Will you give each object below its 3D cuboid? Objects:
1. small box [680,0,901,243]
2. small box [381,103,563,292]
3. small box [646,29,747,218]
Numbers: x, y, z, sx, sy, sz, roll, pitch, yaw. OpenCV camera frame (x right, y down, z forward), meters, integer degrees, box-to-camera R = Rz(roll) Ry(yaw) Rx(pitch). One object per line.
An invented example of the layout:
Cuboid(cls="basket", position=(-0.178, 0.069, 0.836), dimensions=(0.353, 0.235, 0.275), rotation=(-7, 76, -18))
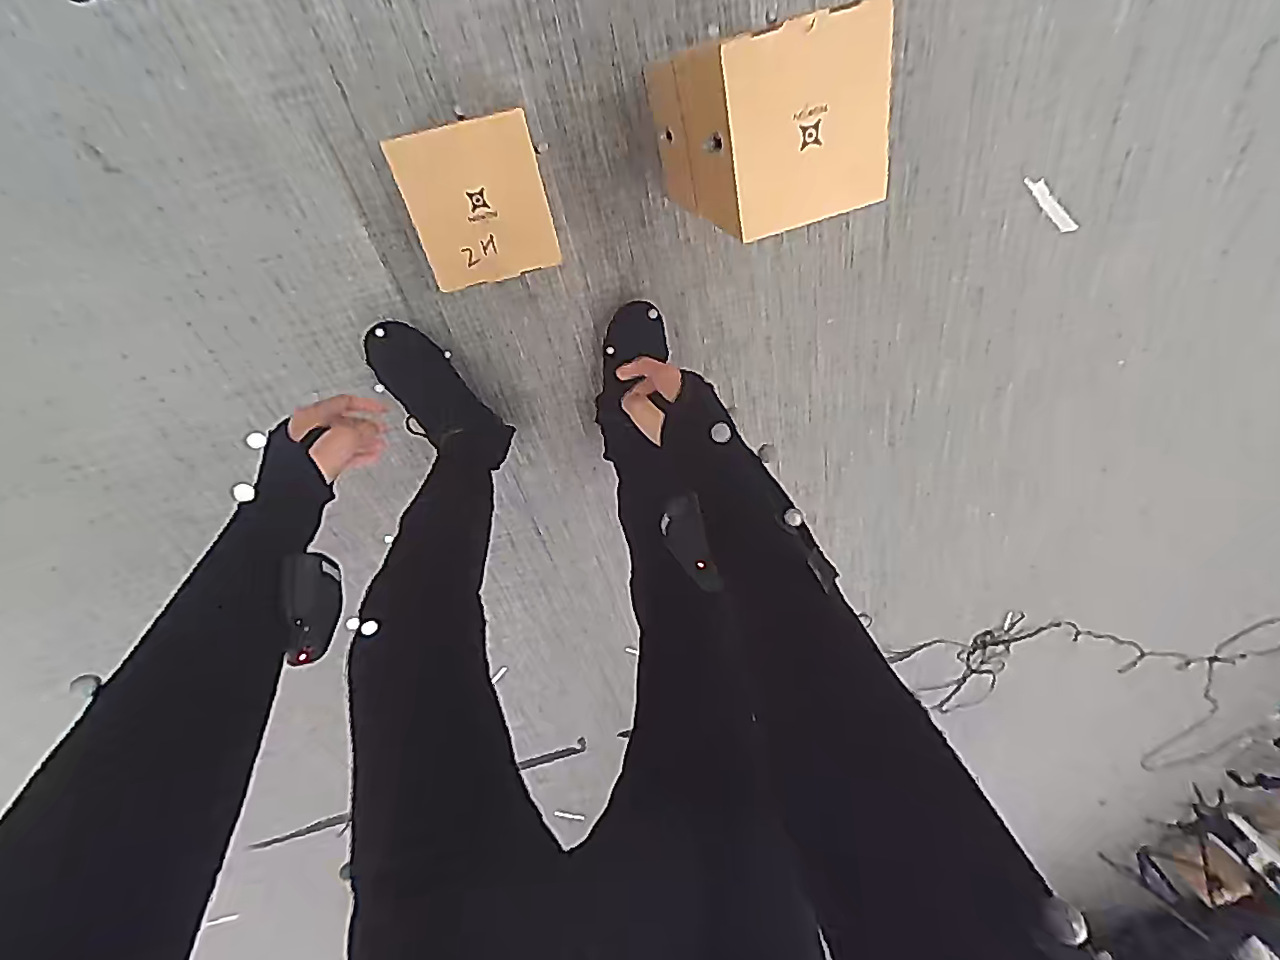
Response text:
Cuboid(cls="small box", position=(0.153, -0.383, 0.582), dimensions=(0.168, 0.176, 0.179), rotation=(-18, 126, -1))
Cuboid(cls="small box", position=(-0.207, -0.370, 0.704), dimensions=(0.168, 0.176, 0.179), rotation=(-15, 127, -3))
Cuboid(cls="small box", position=(0.117, -0.473, 0.712), dimensions=(0.168, 0.176, 0.179), rotation=(-18, 126, -1))
